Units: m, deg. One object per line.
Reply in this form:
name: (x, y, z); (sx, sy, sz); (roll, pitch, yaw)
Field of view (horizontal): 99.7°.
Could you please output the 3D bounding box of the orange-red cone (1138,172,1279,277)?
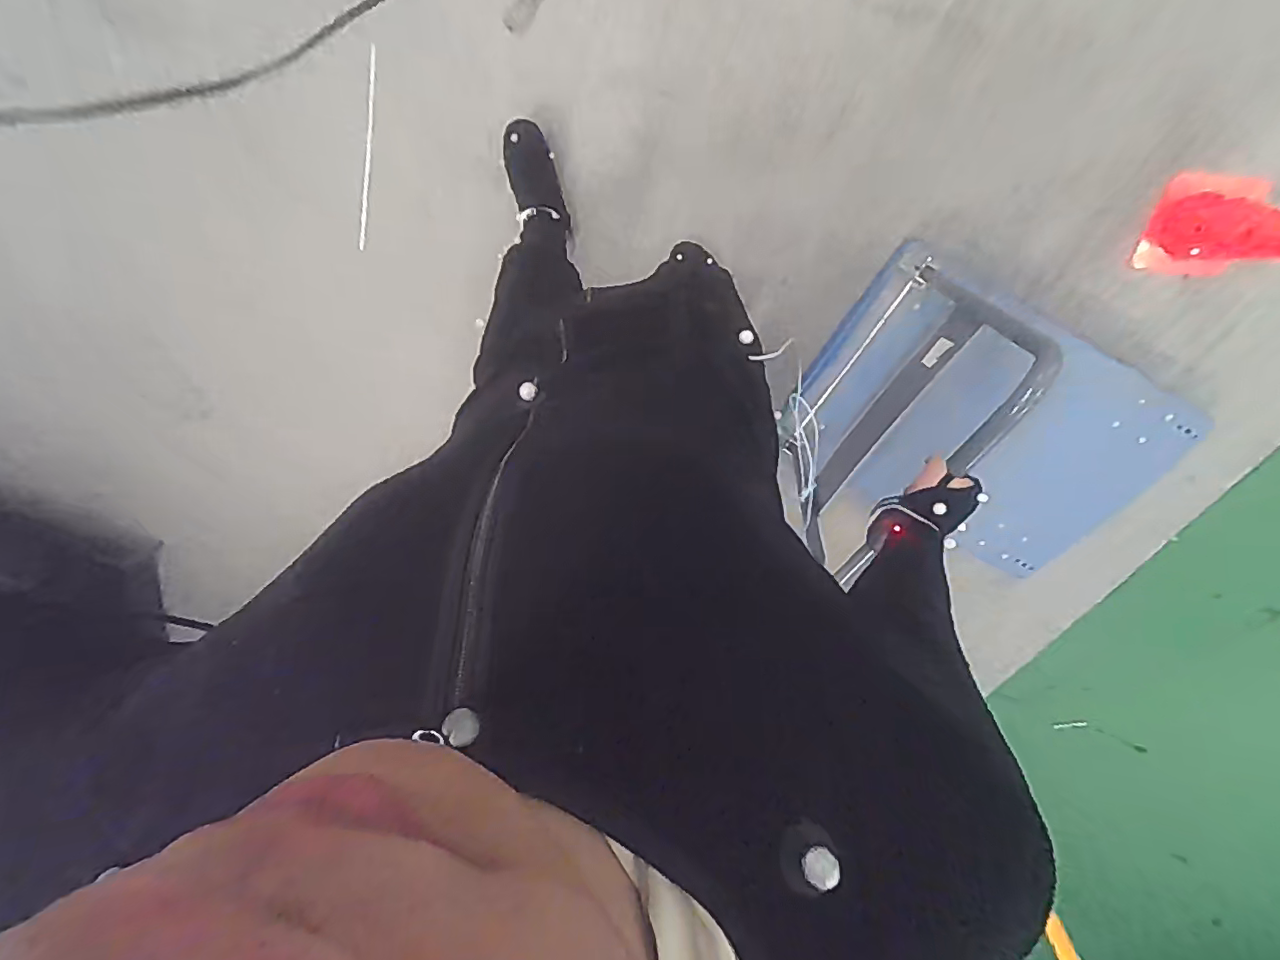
orange-red cone: (1.232, -0.482, 1.059); (0.198, 0.360, 0.199); (9, 120, 4)
